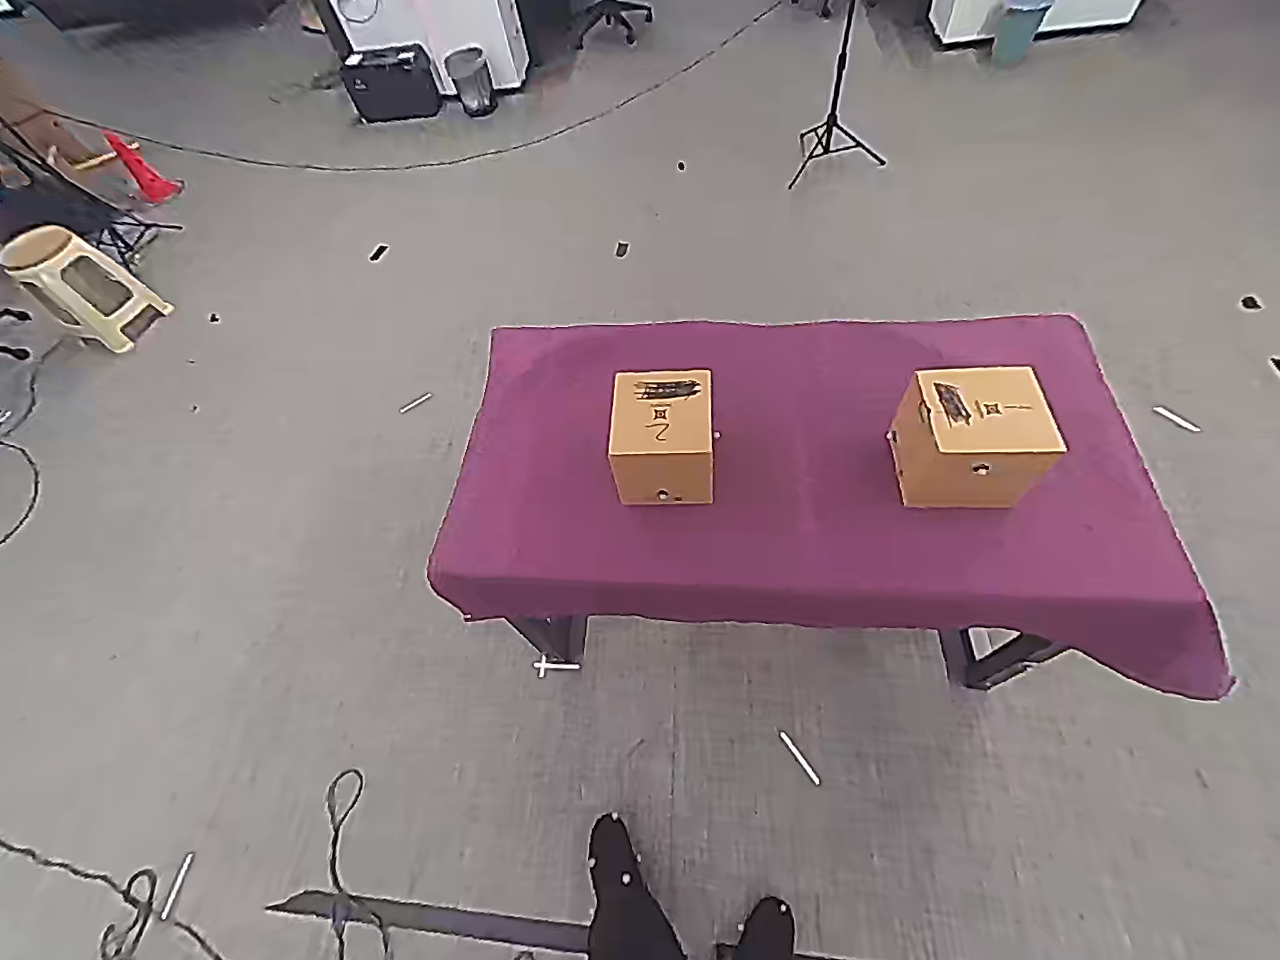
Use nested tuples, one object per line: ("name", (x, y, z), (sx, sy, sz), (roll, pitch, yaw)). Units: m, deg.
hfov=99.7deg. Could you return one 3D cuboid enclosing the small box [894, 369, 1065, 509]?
("small box", (0.533, -0.061, 0.885), (0.179, 0.176, 0.168), (0, 58, 7))
